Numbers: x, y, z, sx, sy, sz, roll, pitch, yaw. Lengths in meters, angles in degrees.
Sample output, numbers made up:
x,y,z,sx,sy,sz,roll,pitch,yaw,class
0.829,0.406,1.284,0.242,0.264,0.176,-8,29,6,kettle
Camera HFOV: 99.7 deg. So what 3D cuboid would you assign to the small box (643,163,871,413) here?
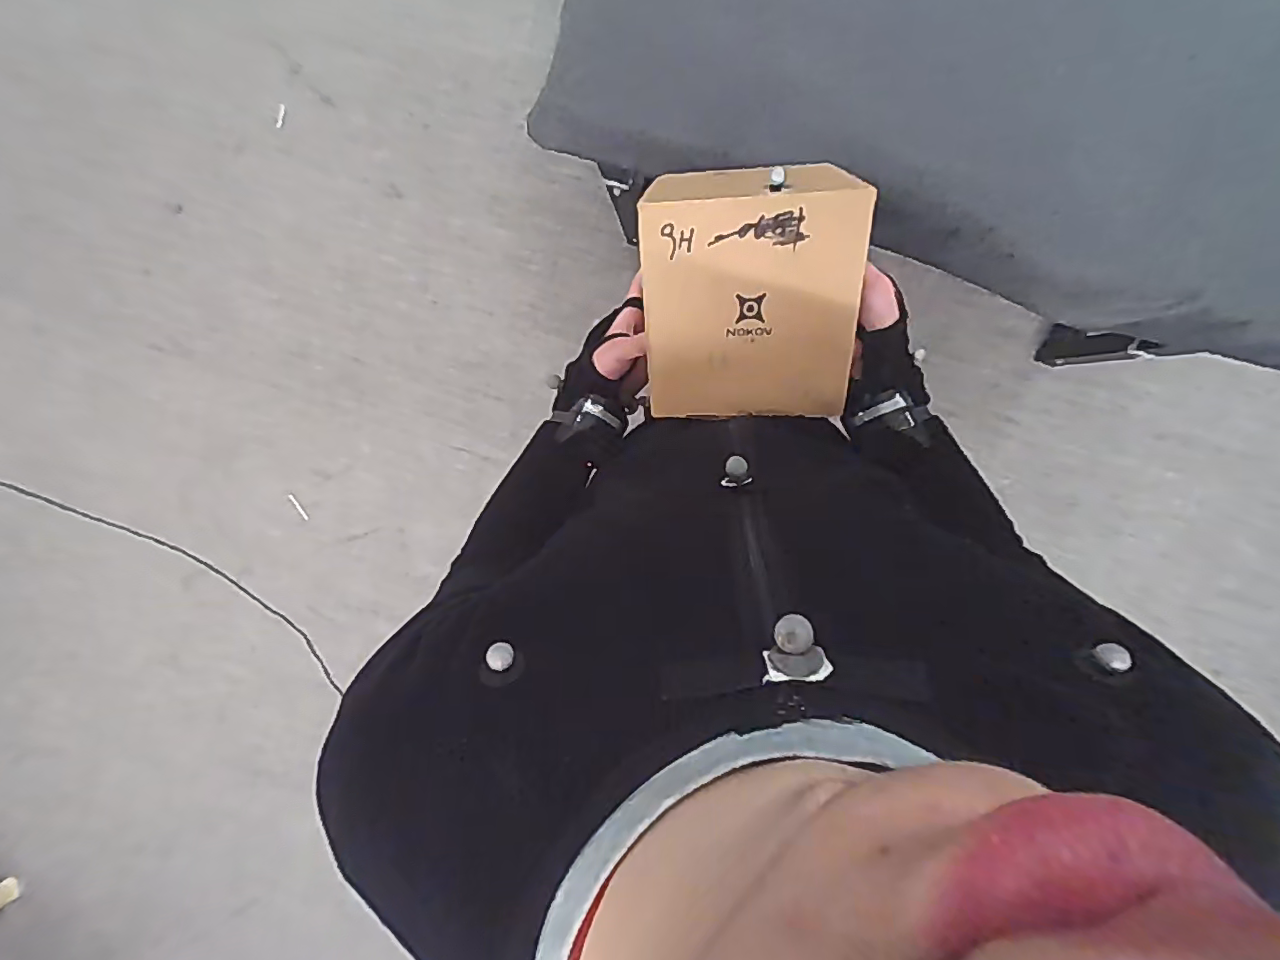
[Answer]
x,y,z,sx,sy,sz,roll,pitch,yaw,class
0.095,-0.179,0.500,0.168,0.176,0.179,0,127,7,small box
